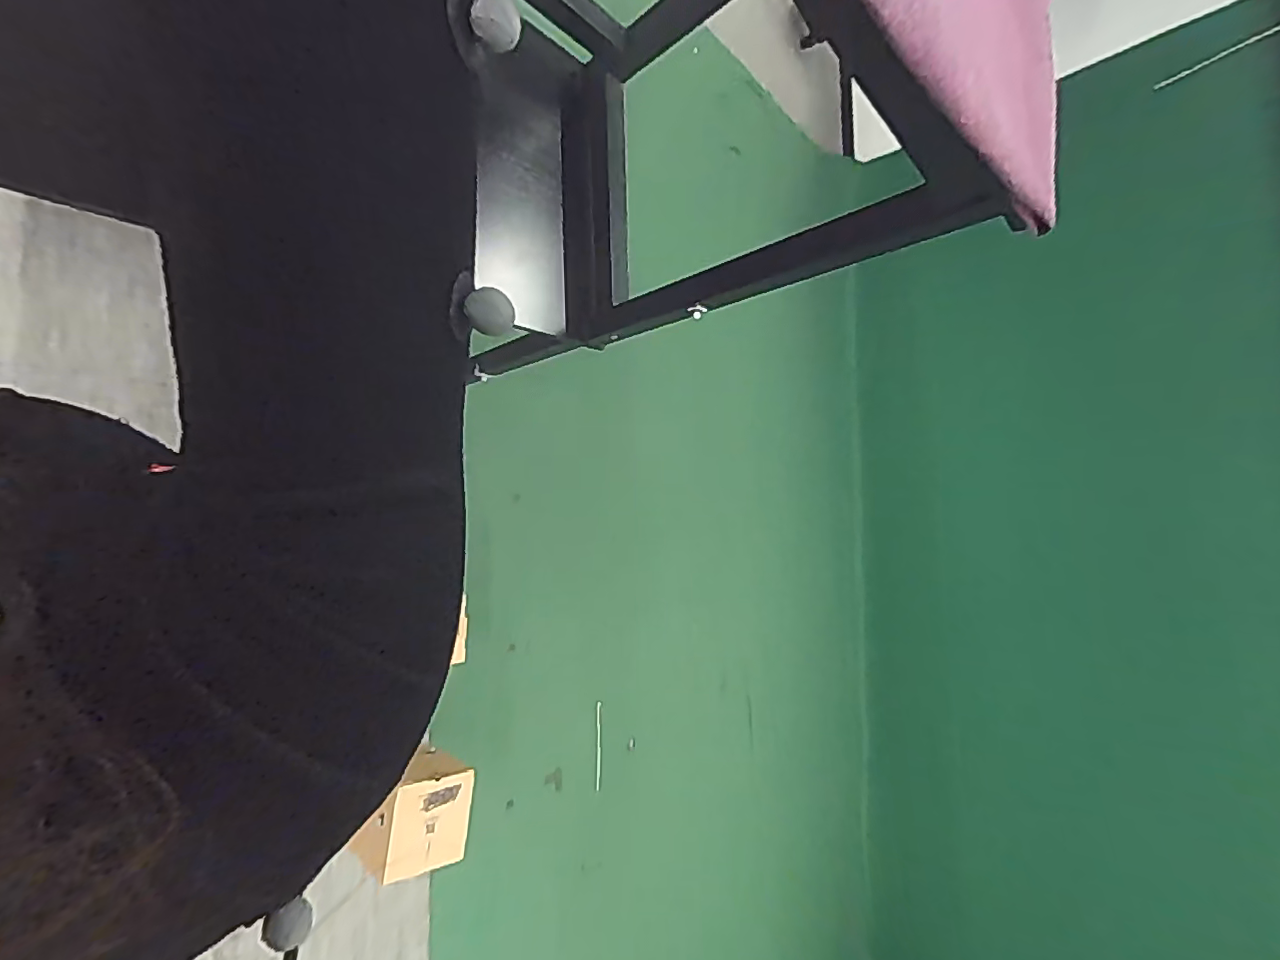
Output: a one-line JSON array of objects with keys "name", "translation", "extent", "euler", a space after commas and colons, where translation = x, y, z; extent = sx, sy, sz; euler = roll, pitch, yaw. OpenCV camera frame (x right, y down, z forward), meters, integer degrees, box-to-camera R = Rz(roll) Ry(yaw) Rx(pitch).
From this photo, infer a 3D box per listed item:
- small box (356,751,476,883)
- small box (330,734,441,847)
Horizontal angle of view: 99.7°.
[{"name": "small box", "translation": [-0.465, 0.679, 1.120], "extent": [0.168, 0.176, 0.179], "euler": [15, 77, -44]}, {"name": "small box", "translation": [-0.582, 0.693, 1.234], "extent": [0.168, 0.176, 0.179], "euler": [18, 75, -43]}]
